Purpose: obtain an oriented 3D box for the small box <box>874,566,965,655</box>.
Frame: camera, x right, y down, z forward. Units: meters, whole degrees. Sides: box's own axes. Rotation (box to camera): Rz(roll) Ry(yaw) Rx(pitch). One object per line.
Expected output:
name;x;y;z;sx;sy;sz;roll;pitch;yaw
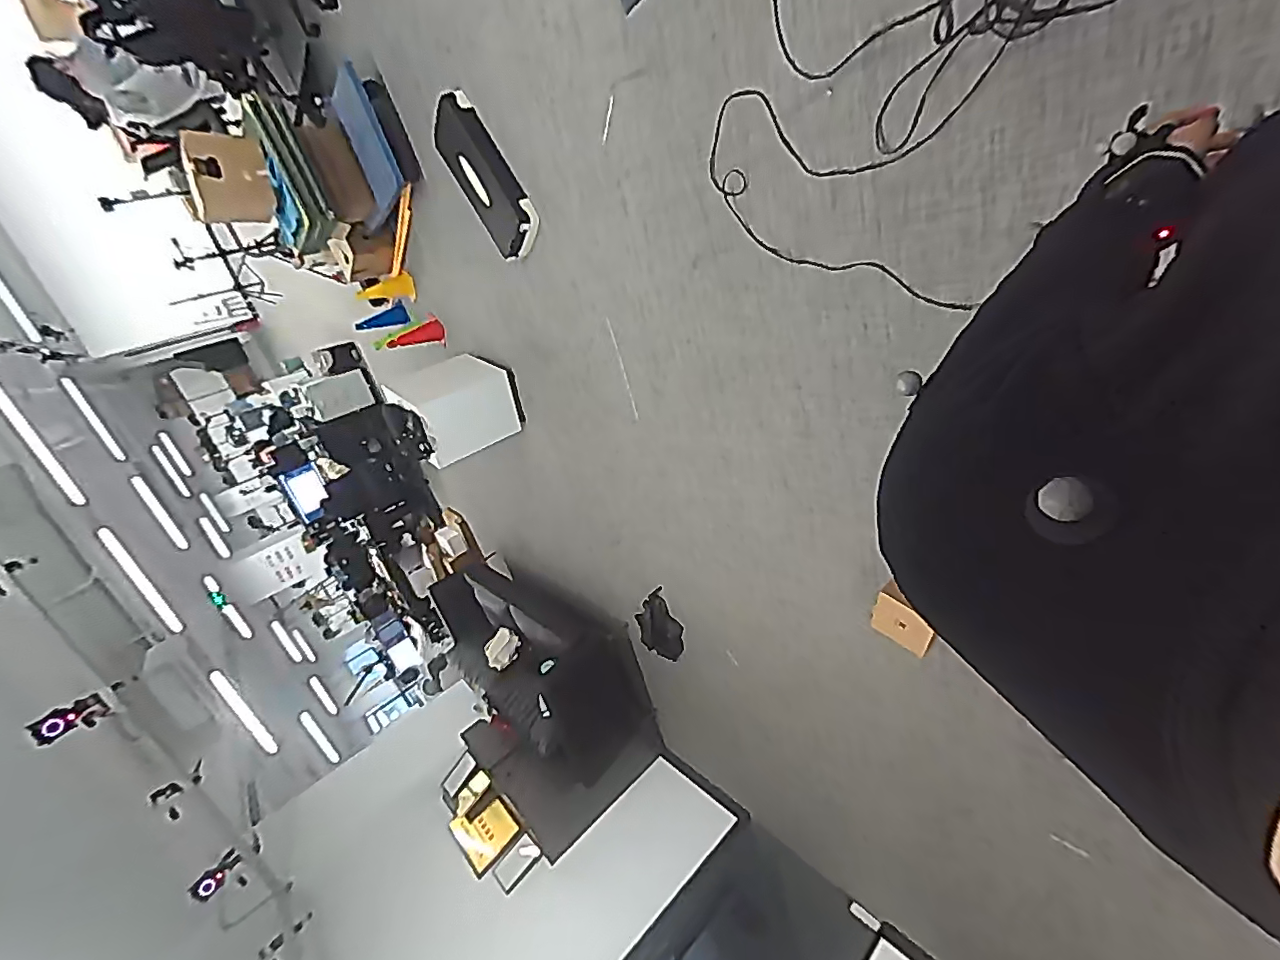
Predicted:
small box;0.853;0.389;1.655;0.179;0.176;0.168;30;140;38
